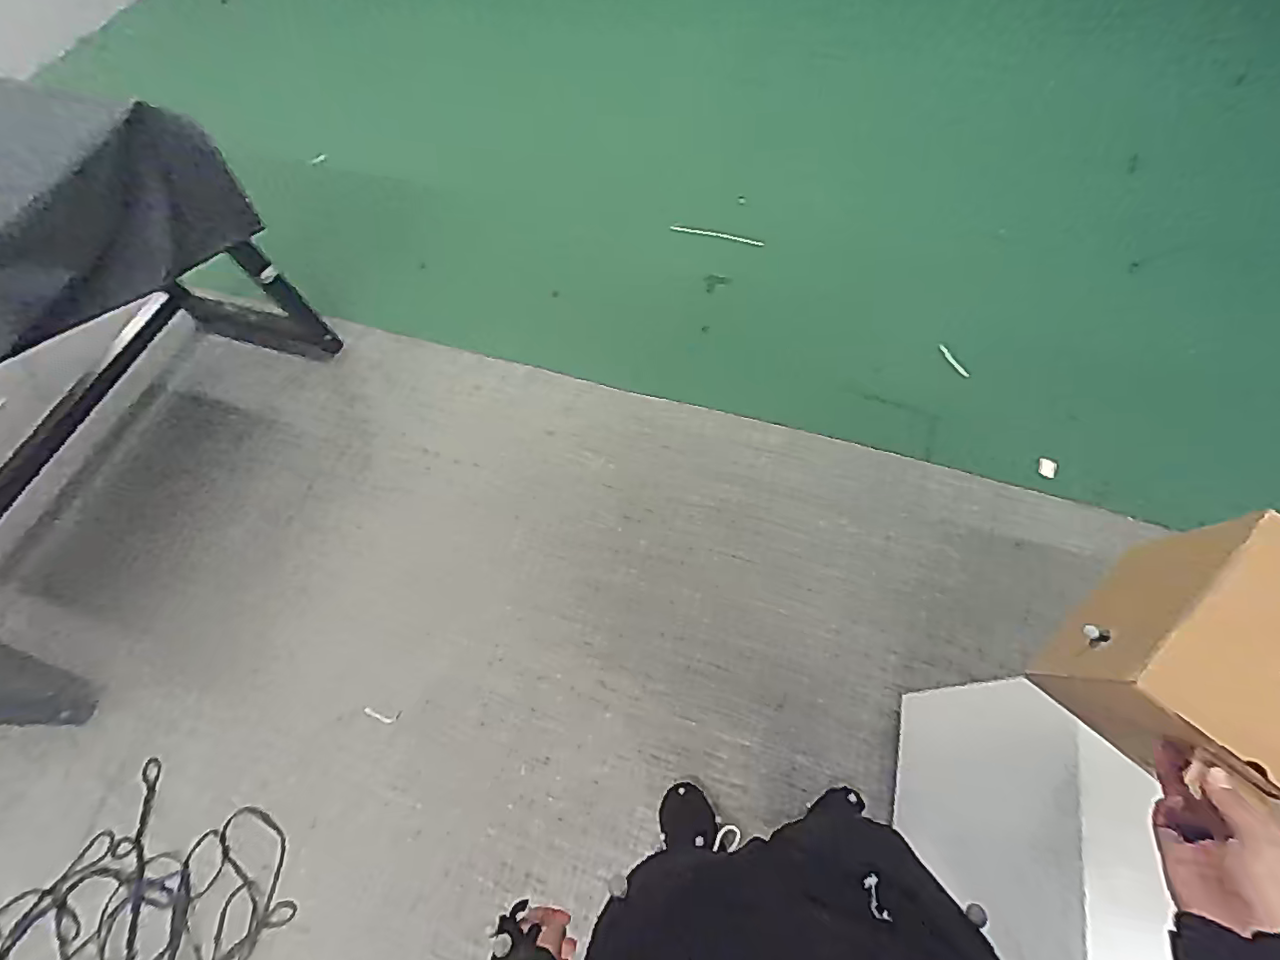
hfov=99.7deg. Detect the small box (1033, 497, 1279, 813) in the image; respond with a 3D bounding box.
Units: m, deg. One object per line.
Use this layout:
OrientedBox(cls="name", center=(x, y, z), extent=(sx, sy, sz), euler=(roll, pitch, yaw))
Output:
OrientedBox(cls="small box", center=(0.476, 0.148, 0.448), extent=(0.168, 0.176, 0.179), euler=(40, 83, 19))
